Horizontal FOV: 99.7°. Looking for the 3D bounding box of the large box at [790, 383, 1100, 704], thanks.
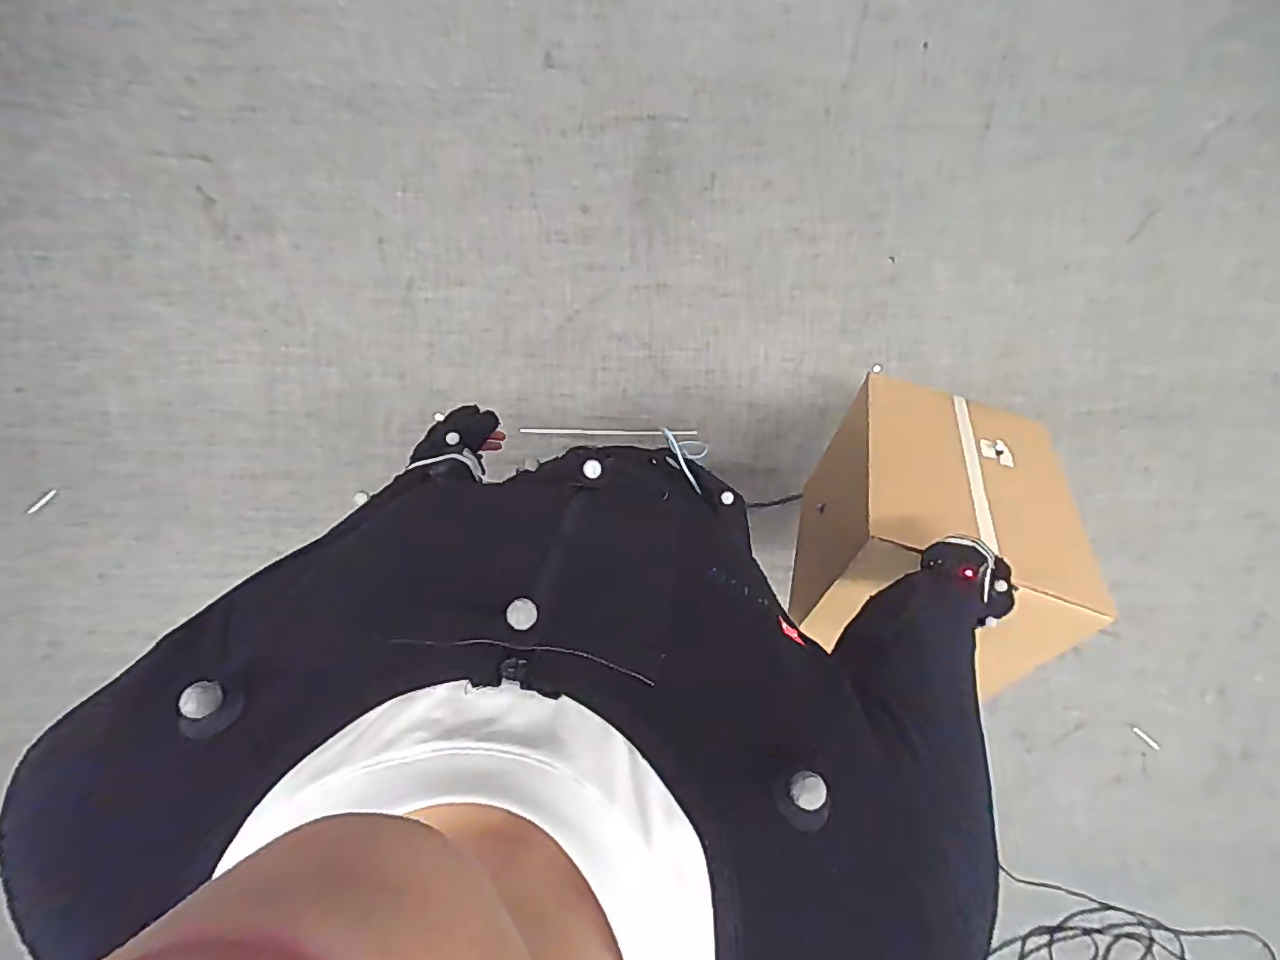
[{"bbox_3d":[0.470,0.100,0.938,0.320,0.408,0.320,19,135,5],"label":"large box"}]
